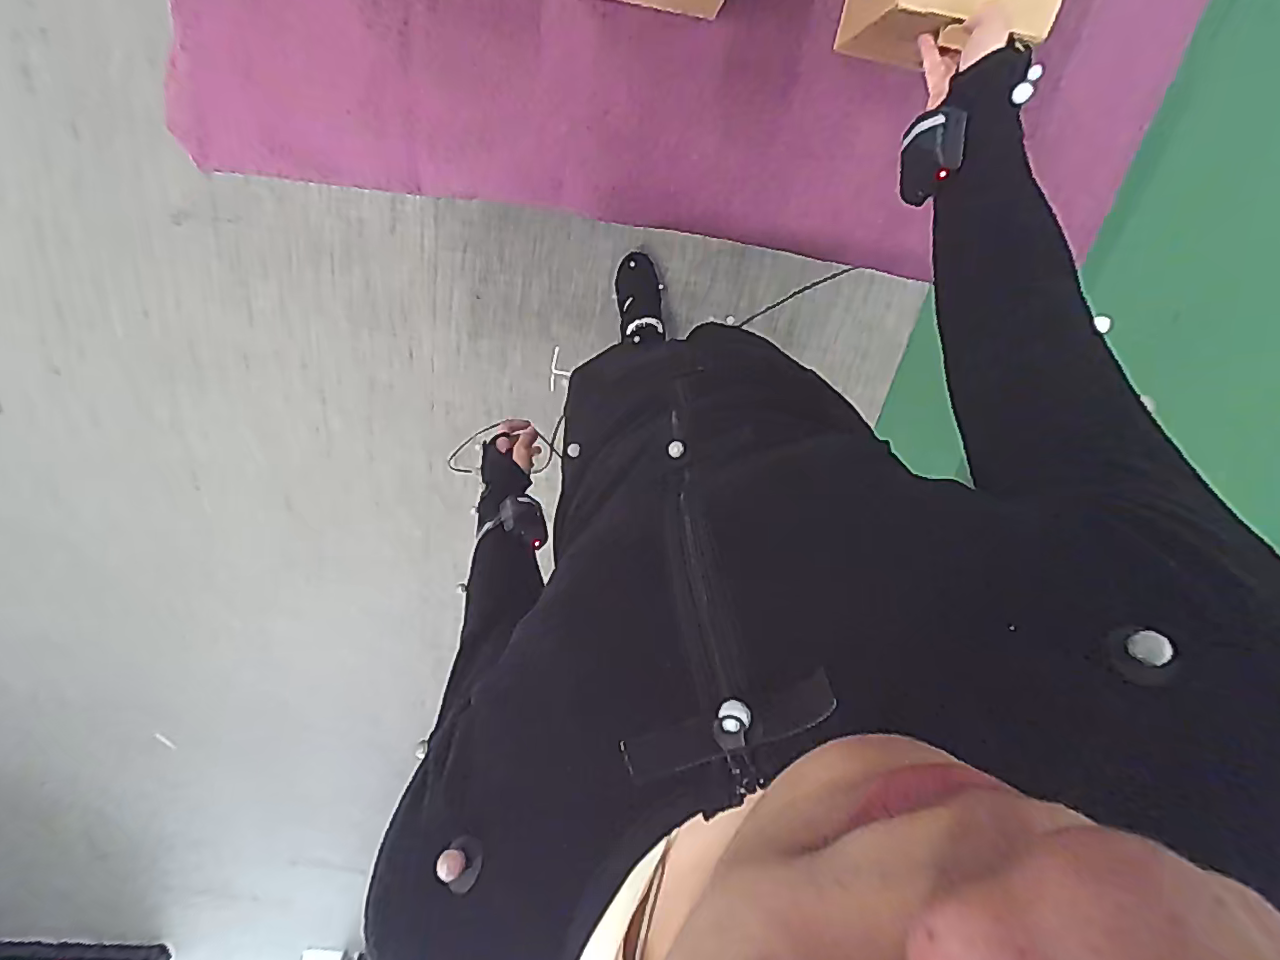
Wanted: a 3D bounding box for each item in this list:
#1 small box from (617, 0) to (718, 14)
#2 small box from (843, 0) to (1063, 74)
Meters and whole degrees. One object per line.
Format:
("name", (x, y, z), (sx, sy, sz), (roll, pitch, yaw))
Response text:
("small box", (0.020, -0.597, 0.532), (0.179, 0.176, 0.168), (6, 115, -5))
("small box", (0.335, -0.557, 0.565), (0.168, 0.176, 0.179), (7, 116, -7))
